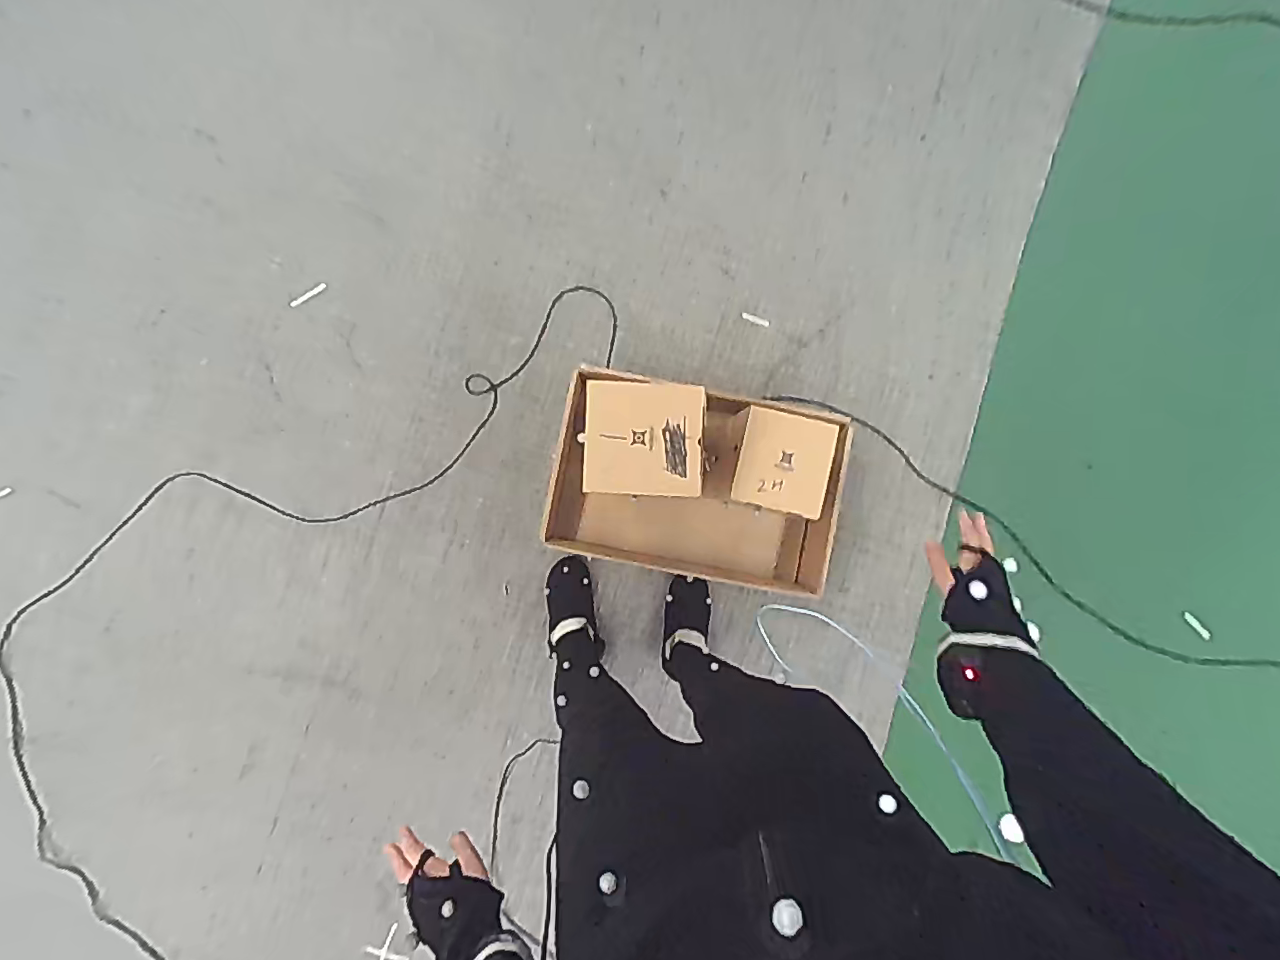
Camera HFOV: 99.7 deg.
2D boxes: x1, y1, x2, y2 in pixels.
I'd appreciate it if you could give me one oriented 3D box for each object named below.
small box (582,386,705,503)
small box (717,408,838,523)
[{"bbox_3d":[0.001,-0.052,0.870,0.179,0.176,0.168,2,89,-3],"label":"small box"},{"bbox_3d":[0.254,-0.023,1.039,0.168,0.176,0.179,13,88,-1],"label":"small box"}]
